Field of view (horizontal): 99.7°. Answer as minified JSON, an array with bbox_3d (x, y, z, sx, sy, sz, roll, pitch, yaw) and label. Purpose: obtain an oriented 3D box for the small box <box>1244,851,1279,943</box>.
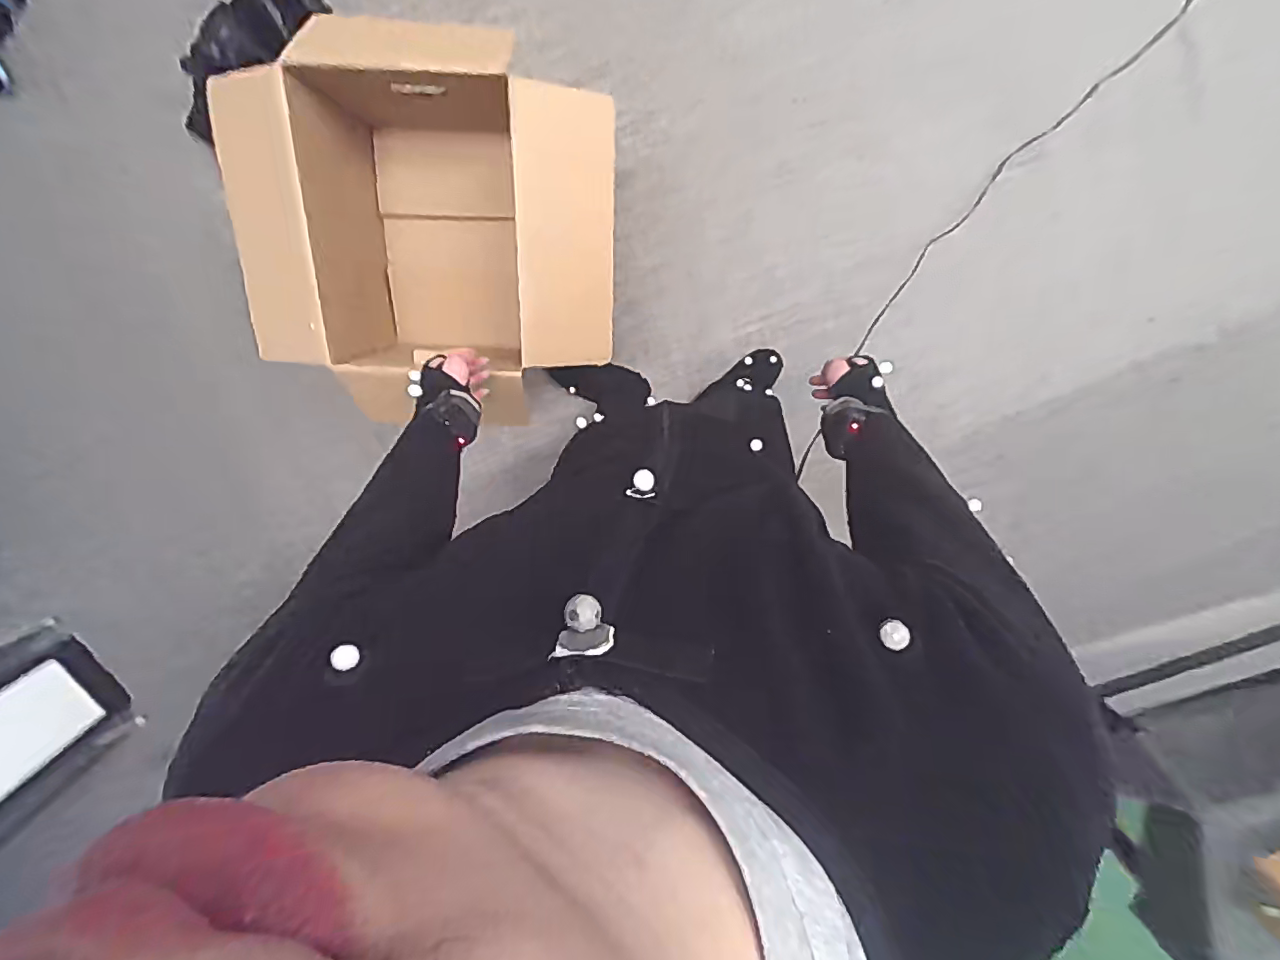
[{"bbox_3d":[1.322,0.826,1.017,0.179,0.176,0.168,-15,109,6],"label":"small box"}]
